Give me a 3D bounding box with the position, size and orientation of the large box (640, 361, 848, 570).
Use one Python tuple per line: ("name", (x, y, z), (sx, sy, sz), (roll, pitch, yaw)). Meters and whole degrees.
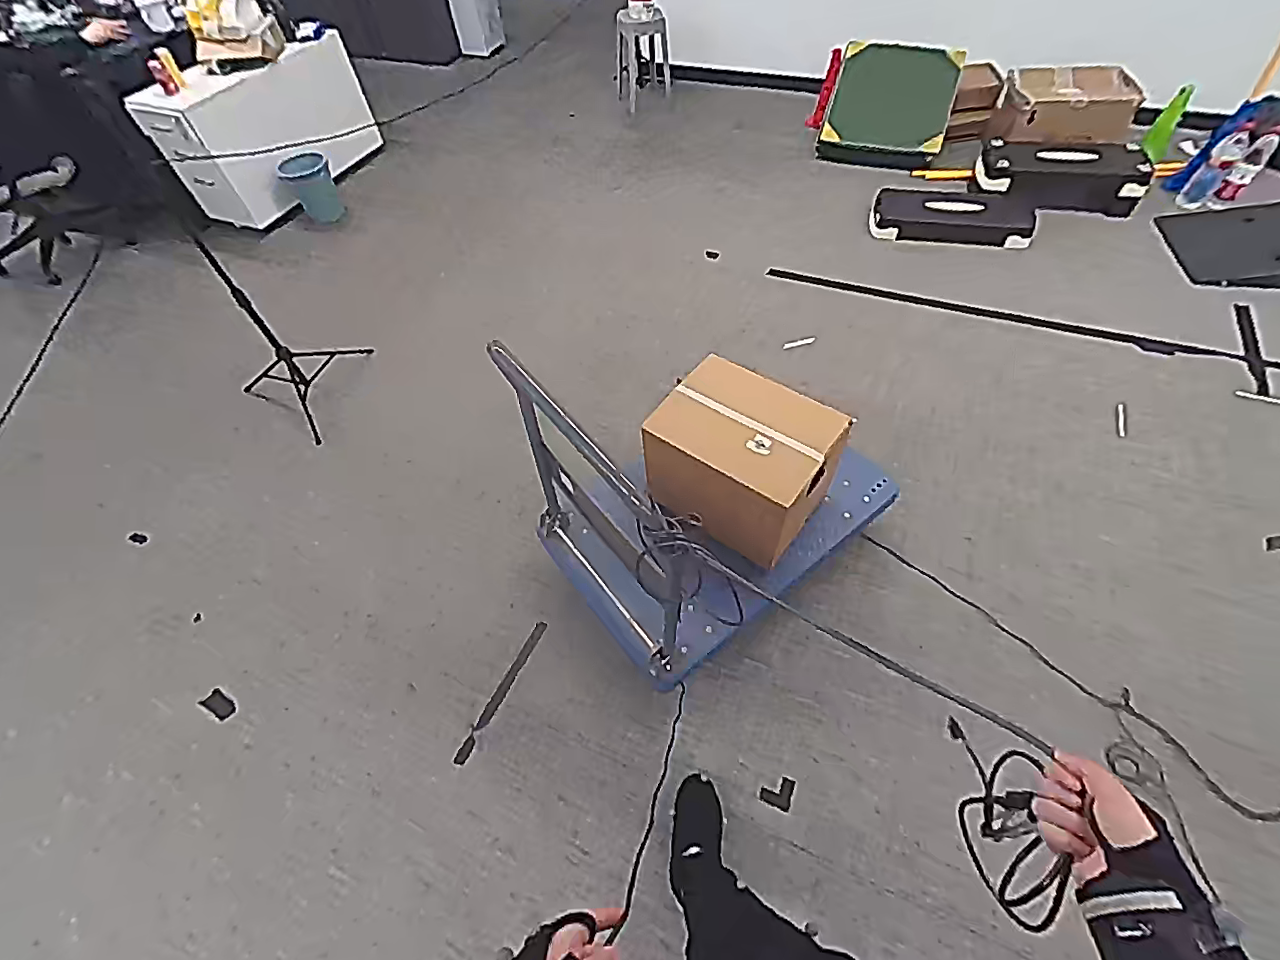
("large box", (0.251, -0.040, 1.405), (0.408, 0.320, 0.320), (31, 63, 23))
